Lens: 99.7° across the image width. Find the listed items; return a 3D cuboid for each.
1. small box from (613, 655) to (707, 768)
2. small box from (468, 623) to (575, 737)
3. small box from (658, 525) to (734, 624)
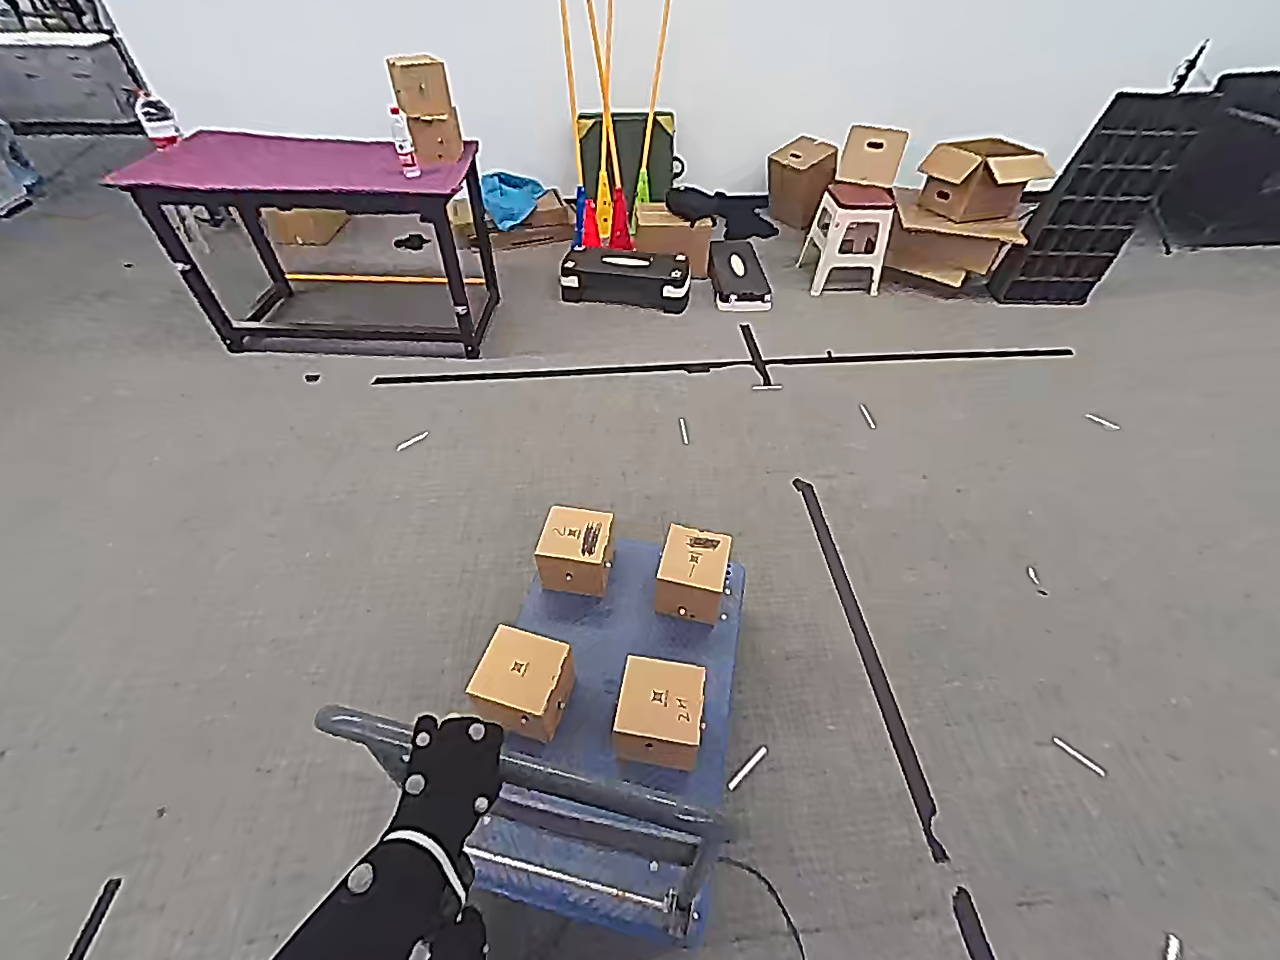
[{"bbox_3d":[0.044,0.508,1.181,0.179,0.176,0.168,9,47,7],"label":"small box"},{"bbox_3d":[-0.258,0.457,1.223,0.179,0.176,0.168,14,48,9],"label":"small box"},{"bbox_3d":[0.144,0.250,1.427,0.168,0.176,0.179,12,49,10],"label":"small box"}]
